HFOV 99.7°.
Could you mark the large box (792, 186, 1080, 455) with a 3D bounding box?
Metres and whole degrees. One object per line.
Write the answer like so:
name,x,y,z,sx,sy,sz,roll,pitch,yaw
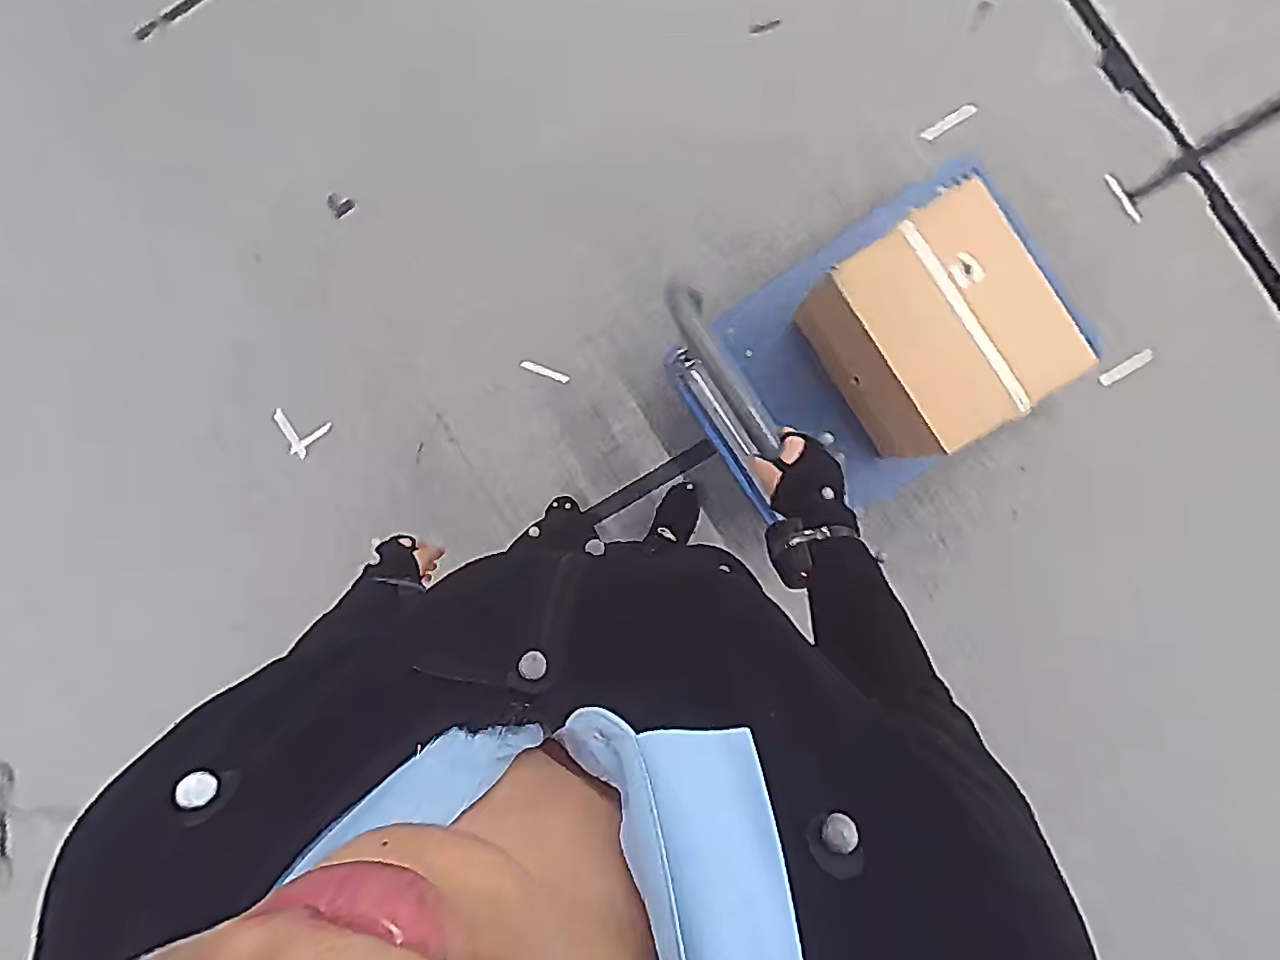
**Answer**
large box,0.587,-0.303,1.153,0.320,0.320,0.408,-32,88,3
